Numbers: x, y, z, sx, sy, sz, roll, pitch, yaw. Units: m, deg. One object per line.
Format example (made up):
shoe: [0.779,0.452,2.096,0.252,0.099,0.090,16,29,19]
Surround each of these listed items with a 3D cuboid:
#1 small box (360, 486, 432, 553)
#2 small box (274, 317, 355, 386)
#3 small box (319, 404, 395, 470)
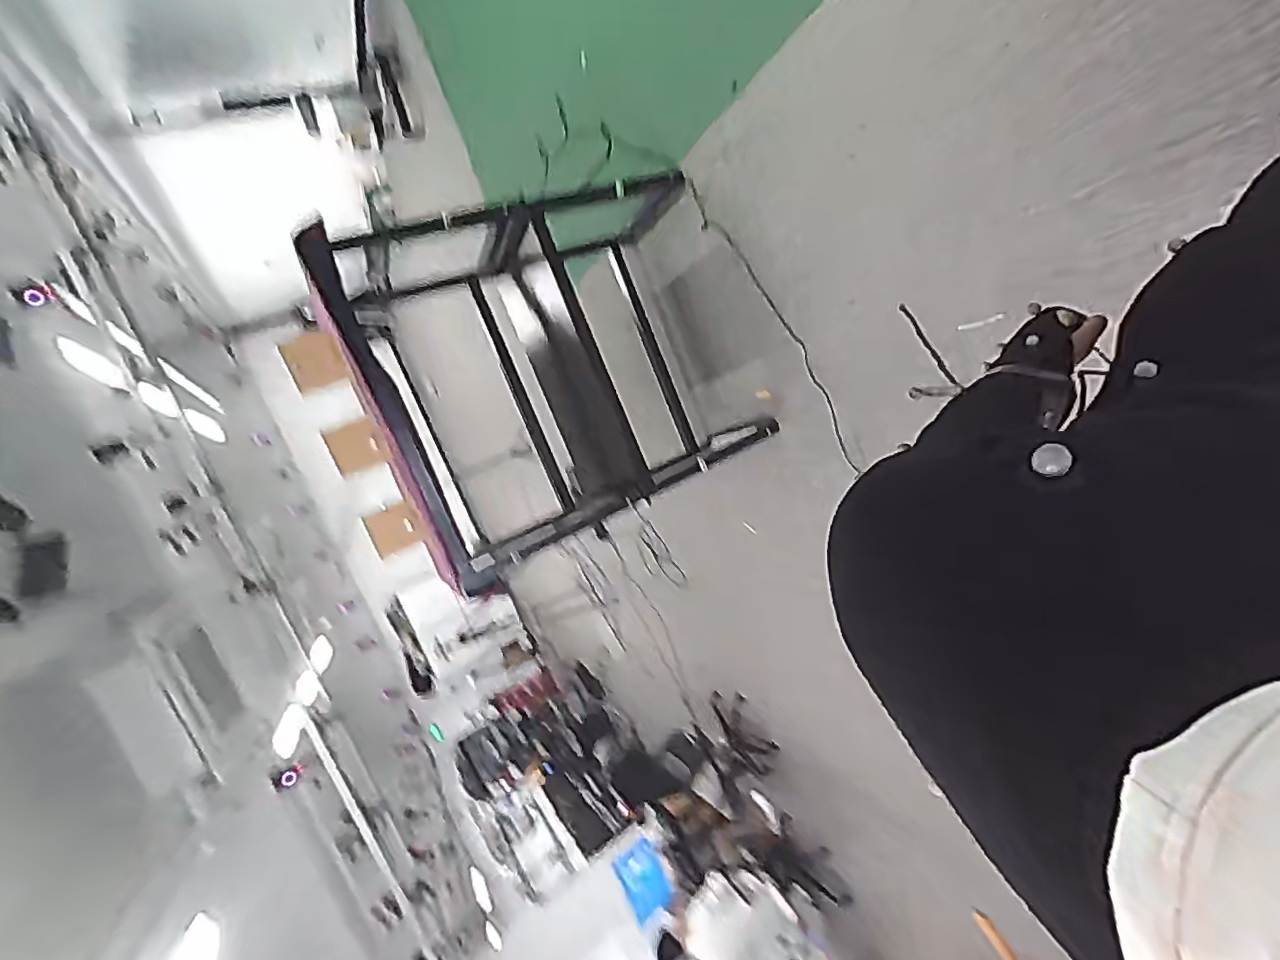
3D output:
small box: [-0.805,0.127,1.790,0.179,0.176,0.168,-10,104,64]
small box: [-1.032,-0.409,1.732,0.179,0.176,0.168,11,124,62]
small box: [-0.922,-0.139,1.774,0.179,0.176,0.168,-2,112,63]
